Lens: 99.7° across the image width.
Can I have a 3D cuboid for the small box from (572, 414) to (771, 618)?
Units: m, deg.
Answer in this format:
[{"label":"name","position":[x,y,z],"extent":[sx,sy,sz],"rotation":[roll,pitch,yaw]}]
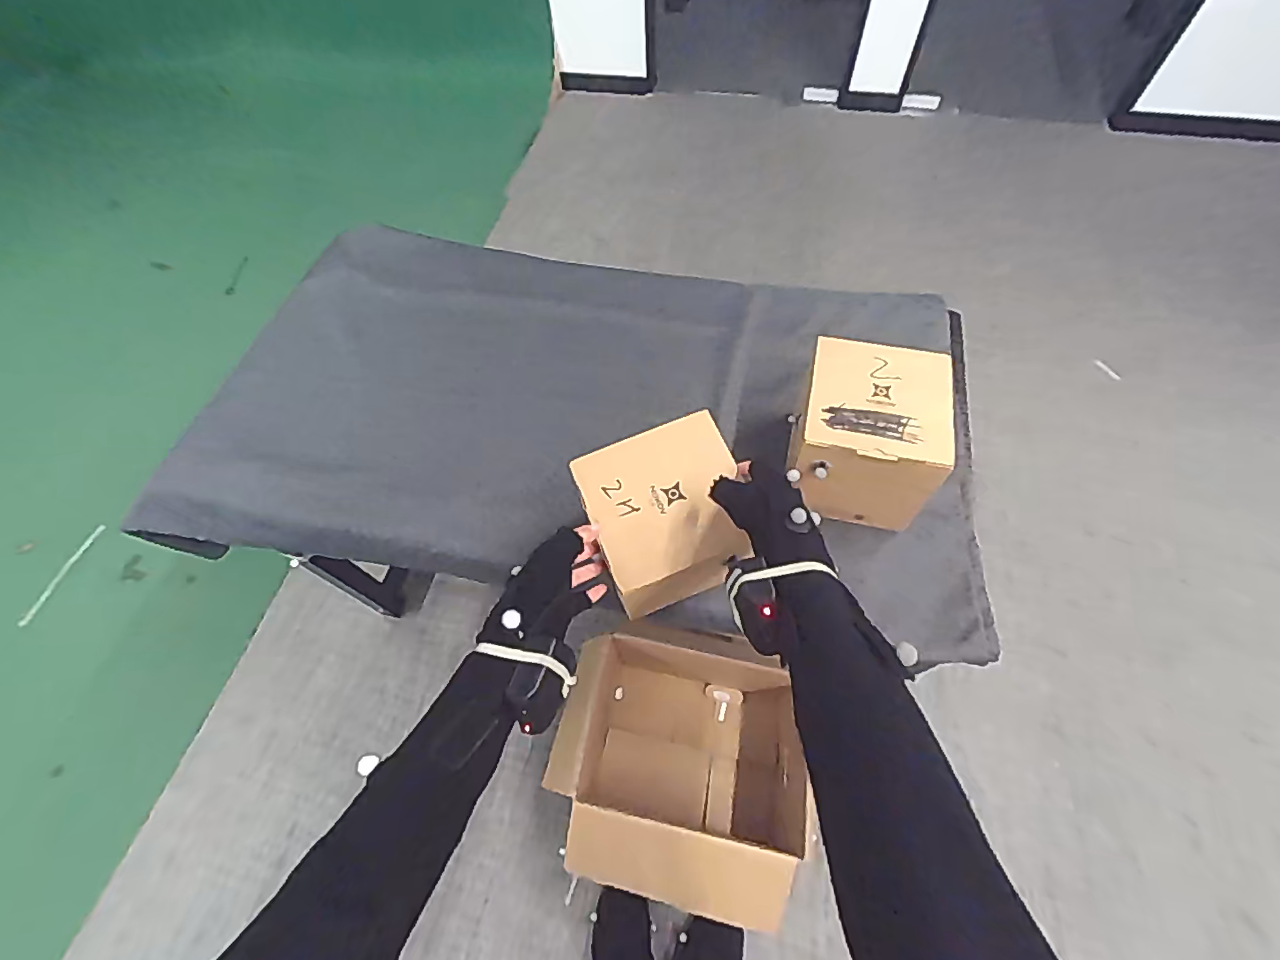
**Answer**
[{"label":"small box","position":[0.034,0.052,0.661],"extent":[0.179,0.176,0.168],"rotation":[-21,66,-5]}]
